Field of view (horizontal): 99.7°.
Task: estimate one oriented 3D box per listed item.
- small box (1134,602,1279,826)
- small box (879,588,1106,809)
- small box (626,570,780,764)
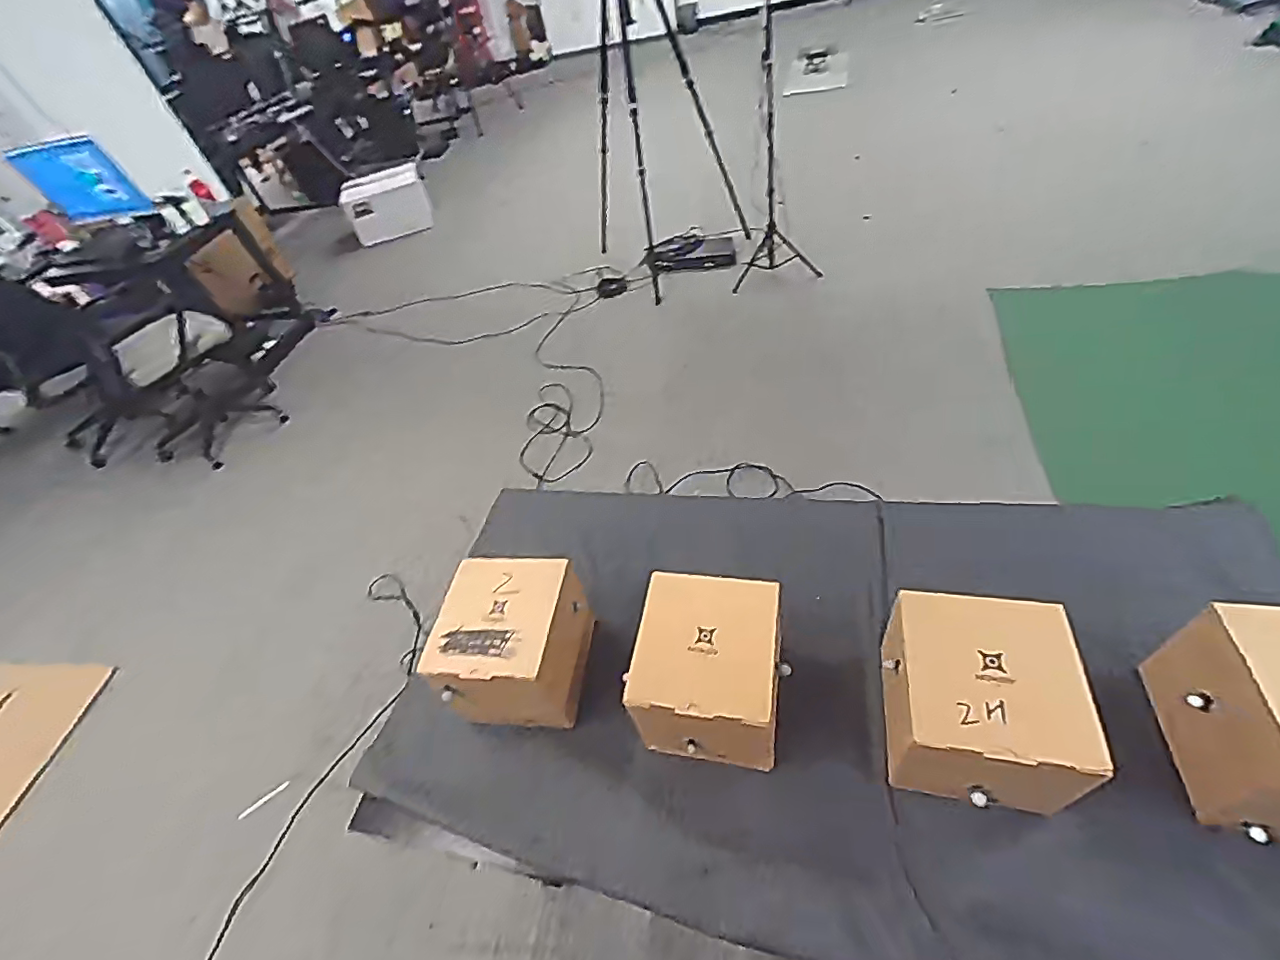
[{"bbox_3d":[0.670,0.249,0.555,0.168,0.176,0.179,2,49,15],"label":"small box"},{"bbox_3d":[0.379,0.250,0.624,0.168,0.176,0.179,3,50,16],"label":"small box"},{"bbox_3d":[0.091,0.242,0.702,0.168,0.176,0.179,3,50,15],"label":"small box"}]
